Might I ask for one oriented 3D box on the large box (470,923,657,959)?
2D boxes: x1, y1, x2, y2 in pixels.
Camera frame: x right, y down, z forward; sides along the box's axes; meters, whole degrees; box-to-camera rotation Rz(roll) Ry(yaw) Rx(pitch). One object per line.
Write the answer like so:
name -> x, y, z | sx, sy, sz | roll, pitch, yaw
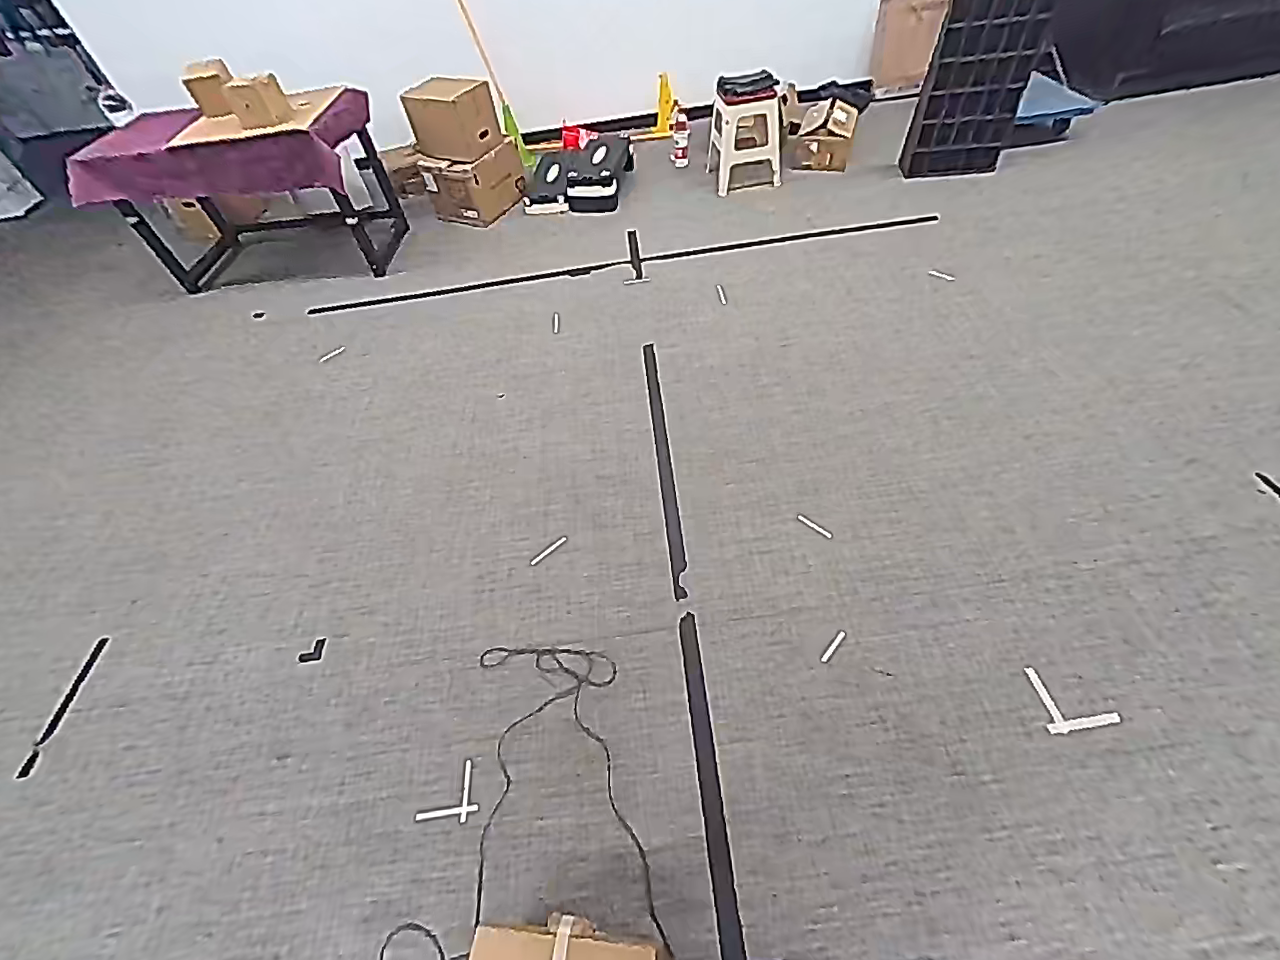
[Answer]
large box -> -0.139, 1.032, 0.926 | 0.320, 0.320, 0.408 | 1, 52, 8
